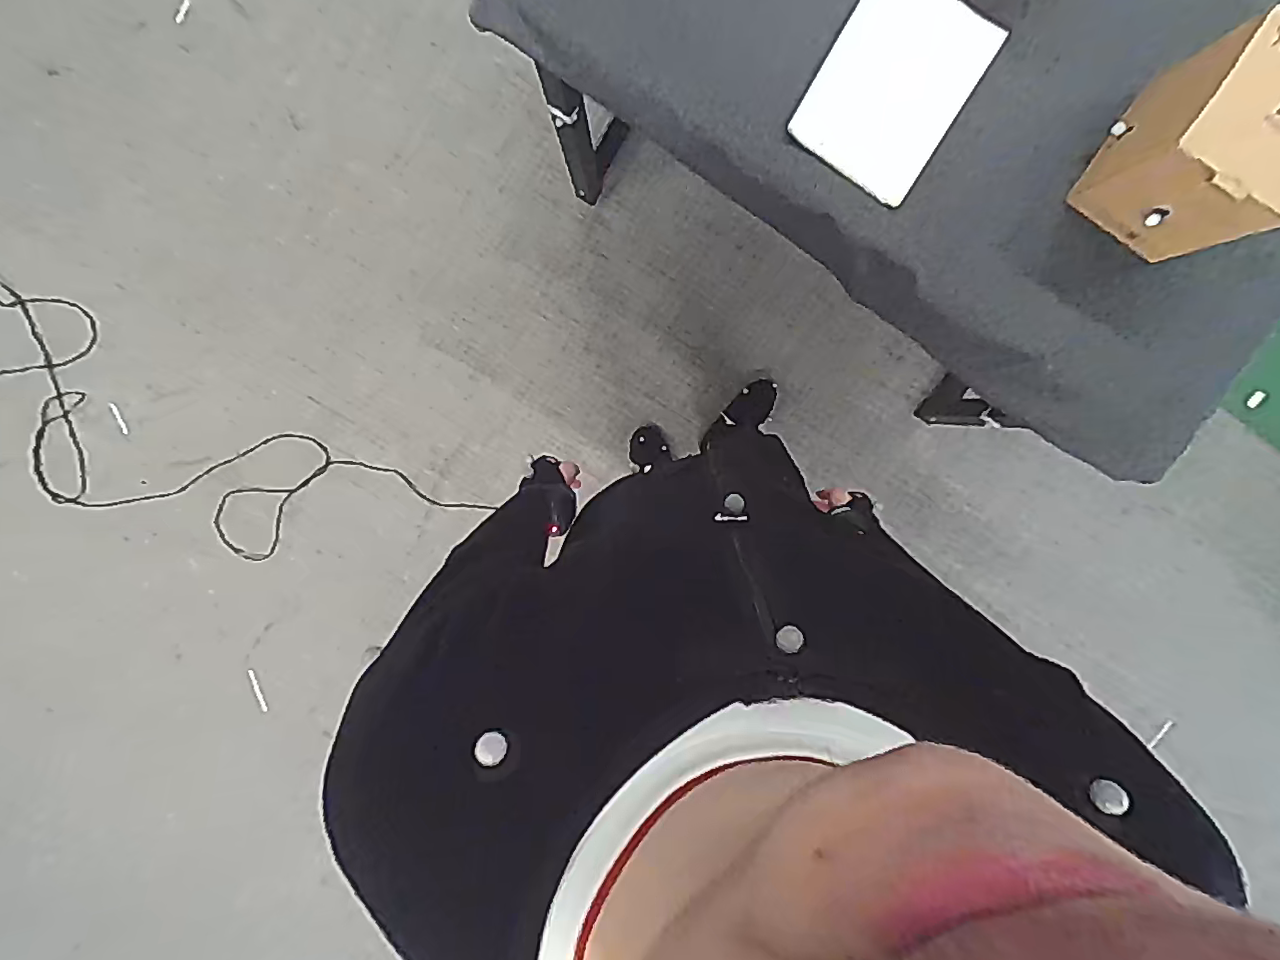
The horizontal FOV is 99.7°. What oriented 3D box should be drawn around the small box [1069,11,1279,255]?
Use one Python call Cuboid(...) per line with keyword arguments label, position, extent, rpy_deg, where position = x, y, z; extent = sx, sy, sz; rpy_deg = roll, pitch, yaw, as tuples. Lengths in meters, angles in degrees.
Cuboid(label="small box", position=(0.714, -0.423, 0.699), extent=(0.168, 0.176, 0.179), rpy_deg=(32, 97, -5))
